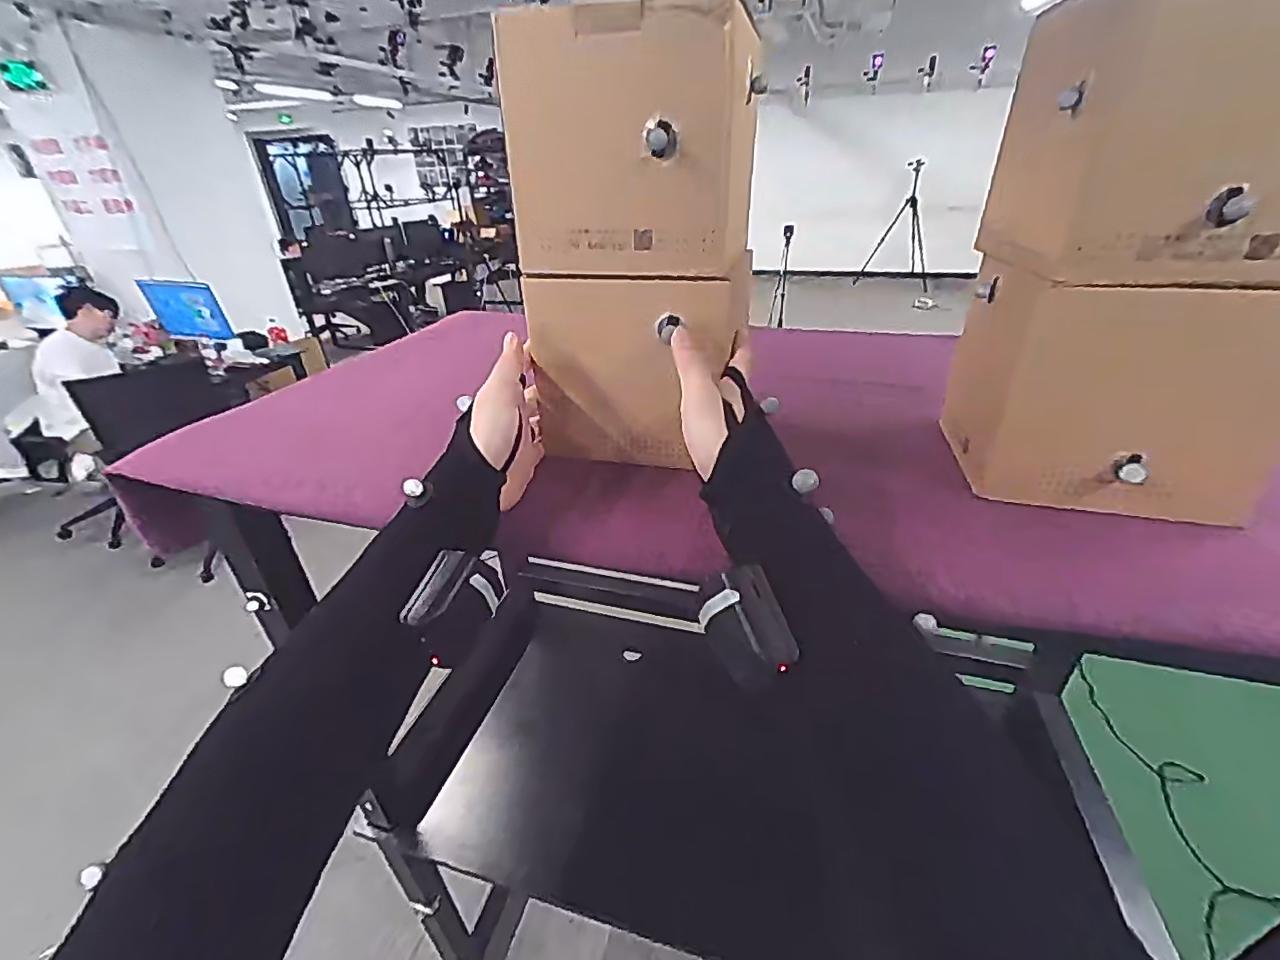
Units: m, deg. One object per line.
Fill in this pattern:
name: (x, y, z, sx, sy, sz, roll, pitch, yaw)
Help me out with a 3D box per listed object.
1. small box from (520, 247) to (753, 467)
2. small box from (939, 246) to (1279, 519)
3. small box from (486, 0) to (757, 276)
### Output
small box: (0.009, -0.125, 0.526, 0.179, 0.176, 0.168, 5, 31, 15)
small box: (0.367, -0.085, 0.434, 0.179, 0.176, 0.168, 7, 30, 15)
small box: (0.001, -0.268, 0.448, 0.168, 0.176, 0.179, 7, 31, 15)
